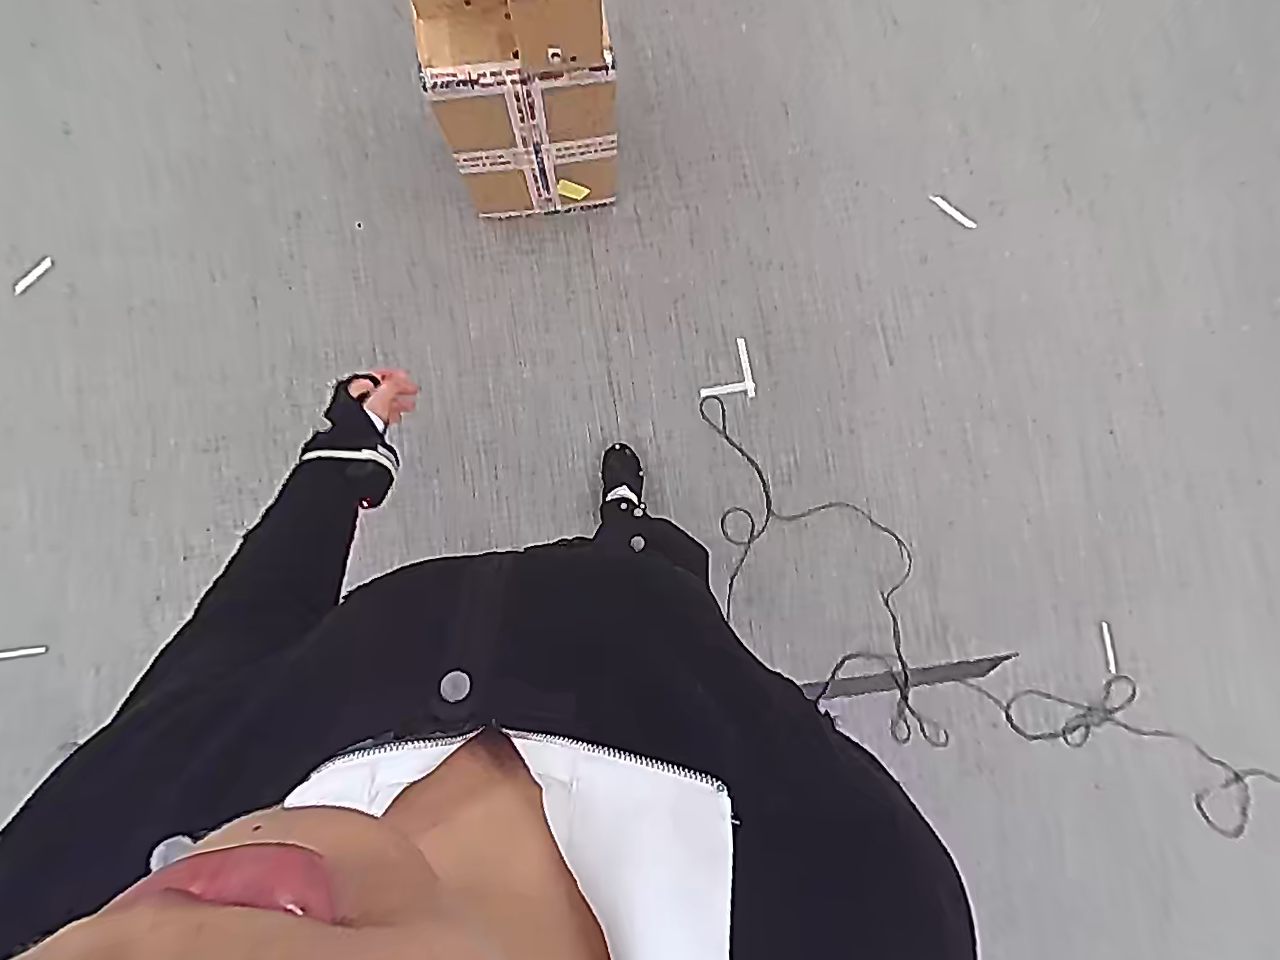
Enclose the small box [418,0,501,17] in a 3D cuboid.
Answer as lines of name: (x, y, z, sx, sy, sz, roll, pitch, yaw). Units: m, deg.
small box: (-0.368, -1.022, 1.003, 0.168, 0.176, 0.179, -10, 88, -1)
